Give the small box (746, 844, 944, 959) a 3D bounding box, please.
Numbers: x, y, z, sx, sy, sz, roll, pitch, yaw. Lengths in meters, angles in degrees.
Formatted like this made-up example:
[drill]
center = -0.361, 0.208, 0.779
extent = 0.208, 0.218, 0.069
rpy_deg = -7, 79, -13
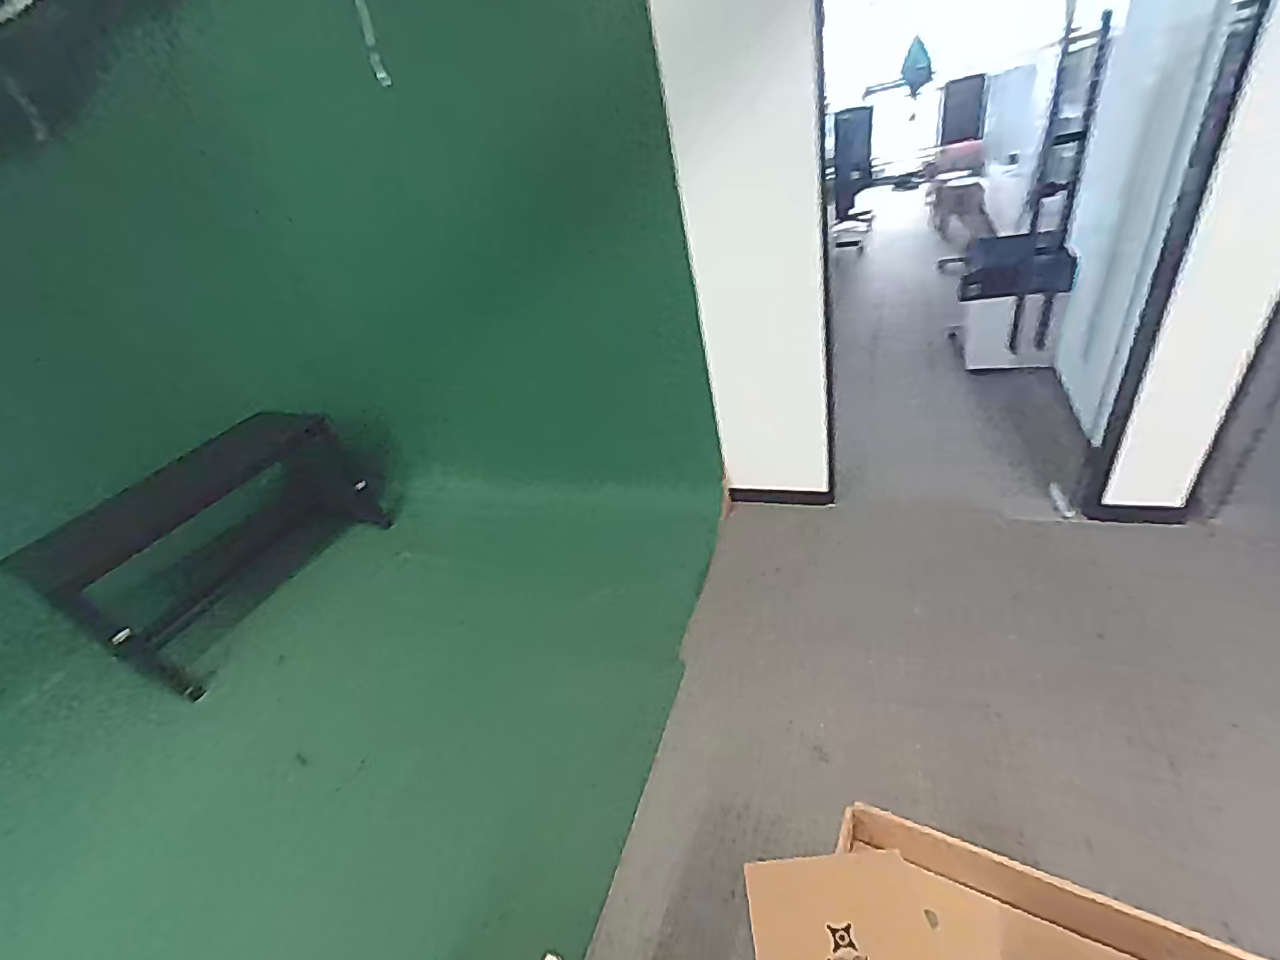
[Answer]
[small box]
center = 0.204, 0.501, 0.525
extent = 0.168, 0.176, 0.179
rpy_deg = -11, 20, 7
